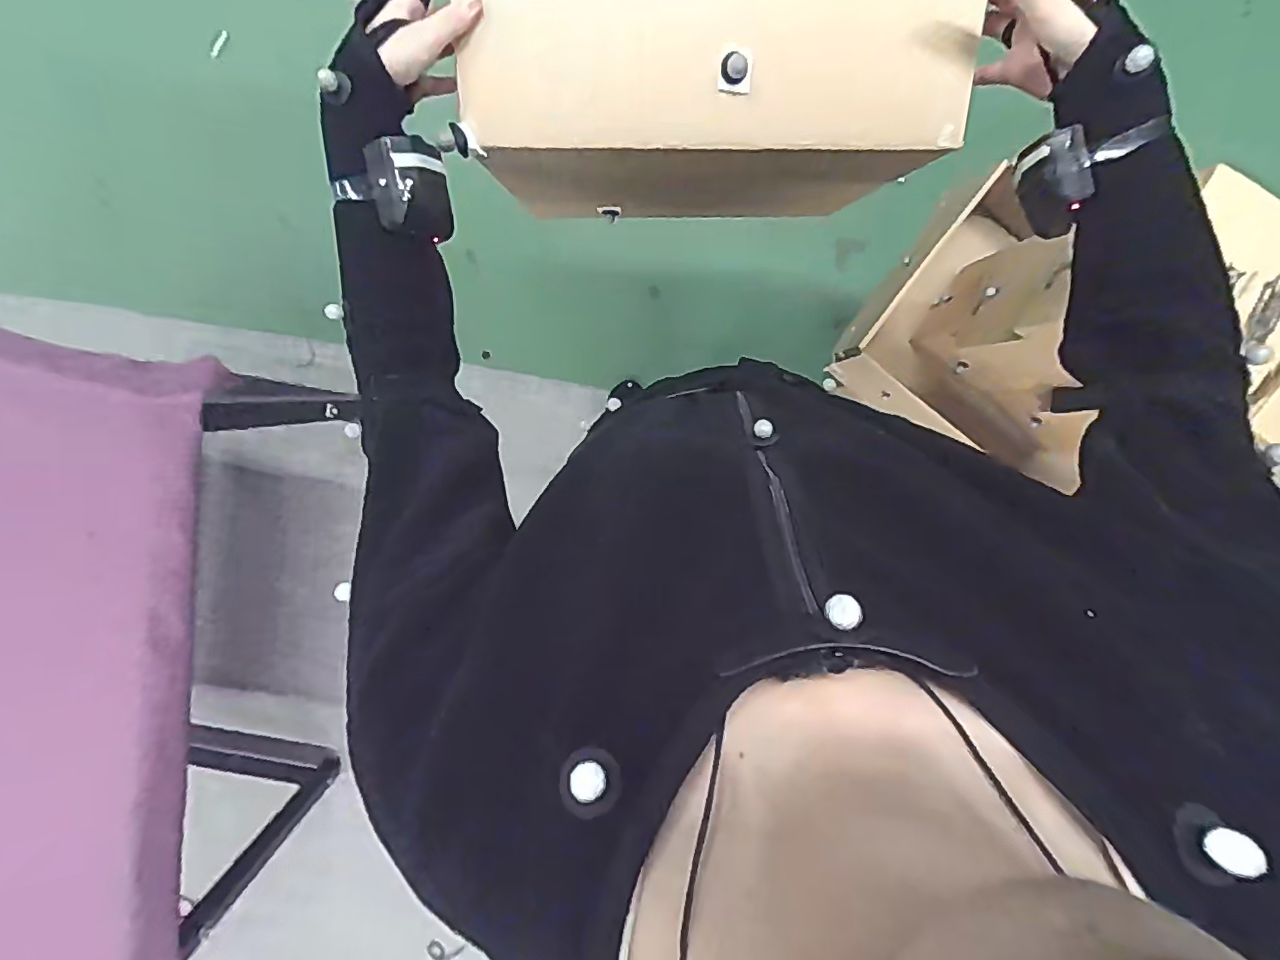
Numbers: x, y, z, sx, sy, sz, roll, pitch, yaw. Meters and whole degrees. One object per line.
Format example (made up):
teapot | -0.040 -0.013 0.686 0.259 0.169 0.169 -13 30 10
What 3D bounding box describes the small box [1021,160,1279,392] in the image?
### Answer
small box | 0.603 -0.214 0.620 0.179 0.176 0.168 30 97 -2
